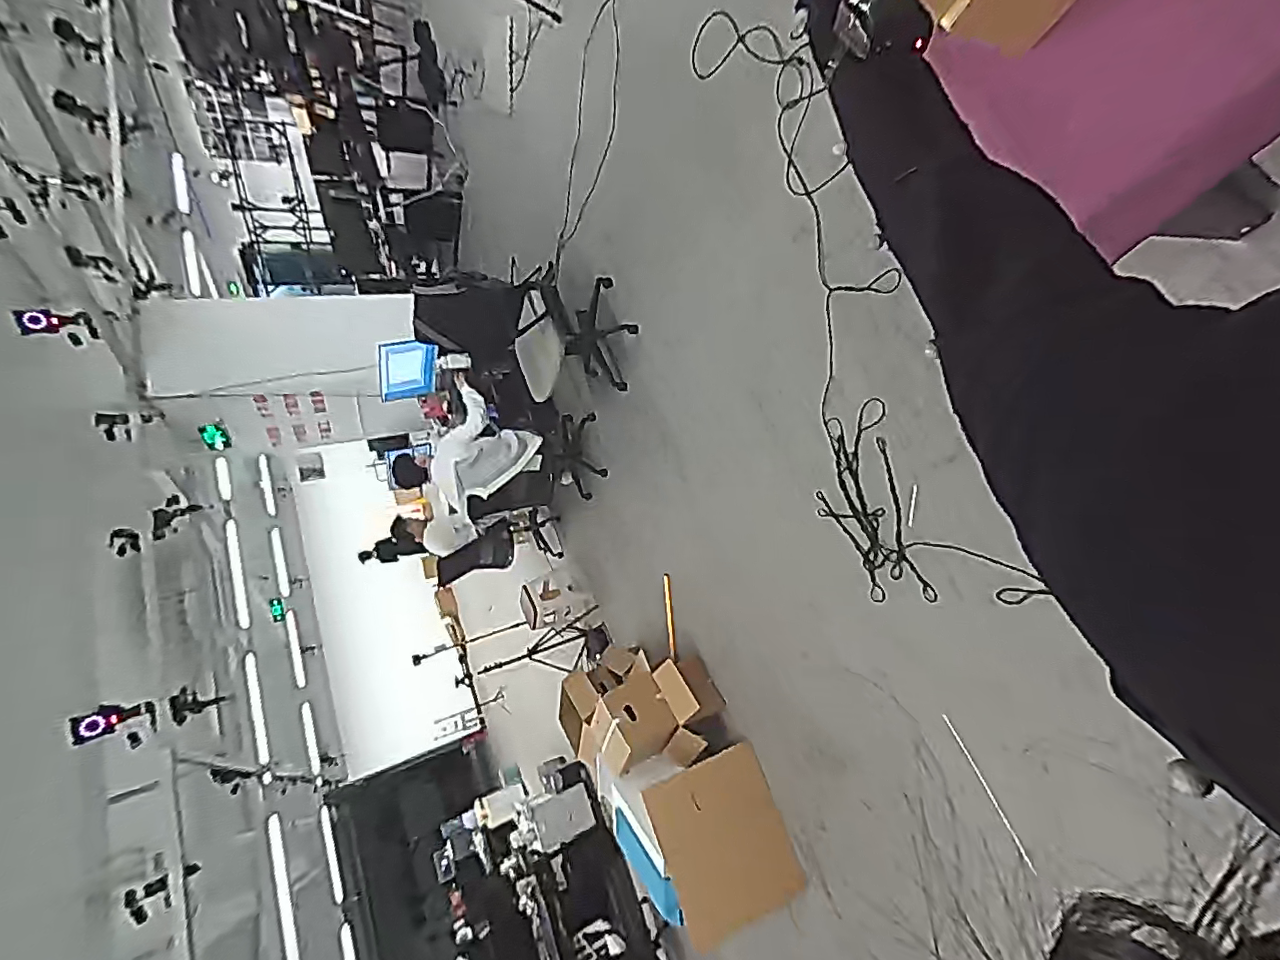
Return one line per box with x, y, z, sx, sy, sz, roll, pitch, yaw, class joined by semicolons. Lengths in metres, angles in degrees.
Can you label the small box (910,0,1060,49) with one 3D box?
0.394;-0.611;0.585;0.168;0.176;0.179;-48;61;56;small box
